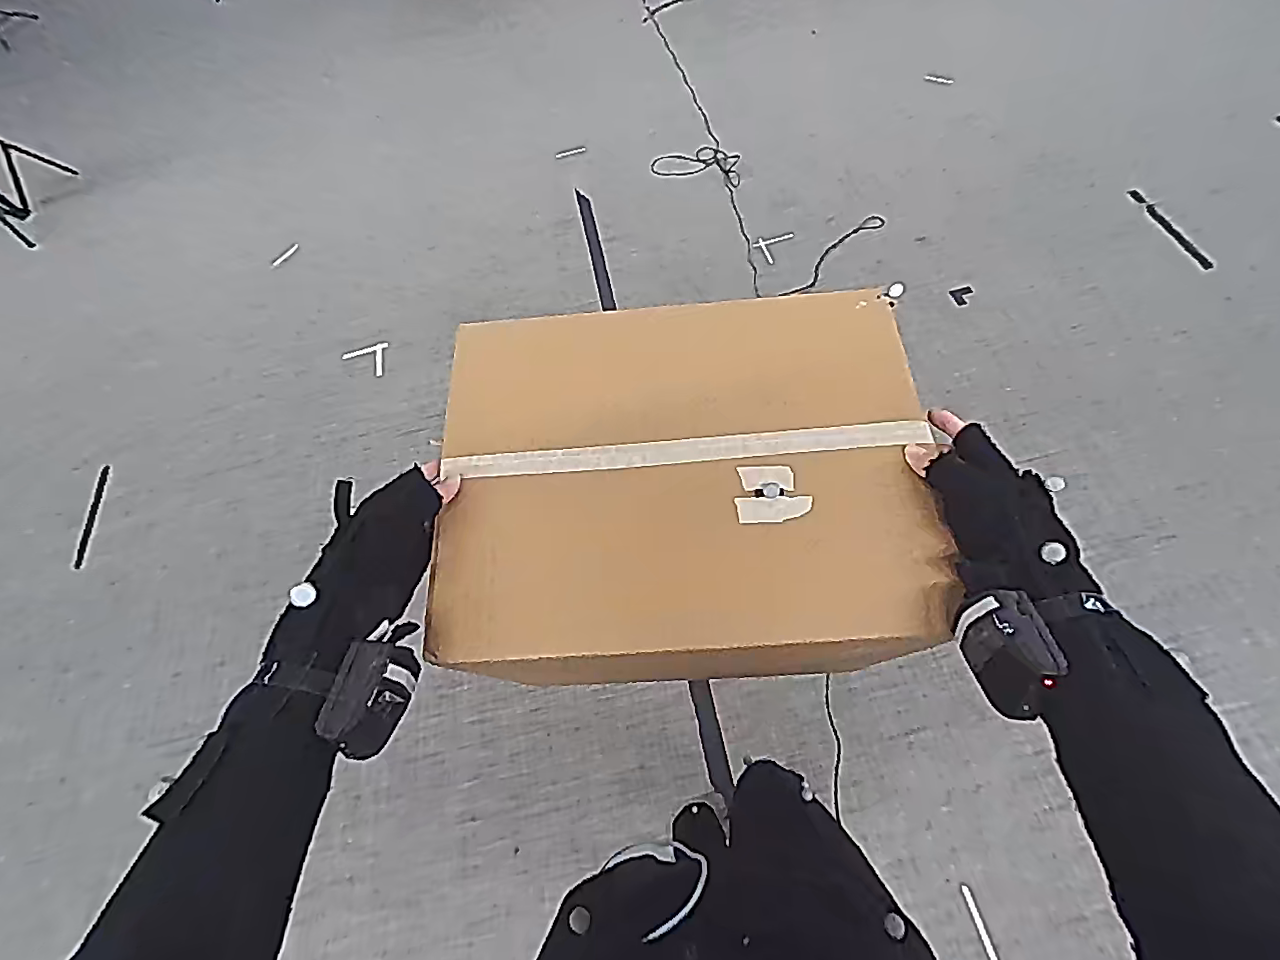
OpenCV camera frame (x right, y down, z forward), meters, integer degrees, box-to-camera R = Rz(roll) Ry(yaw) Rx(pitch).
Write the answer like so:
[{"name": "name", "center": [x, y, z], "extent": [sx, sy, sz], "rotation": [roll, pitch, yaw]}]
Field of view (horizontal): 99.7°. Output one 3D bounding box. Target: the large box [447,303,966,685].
[{"name": "large box", "center": [0.046, 0.043, 0.603], "extent": [0.408, 0.320, 0.320], "rotation": [-4, 66, 2]}]
